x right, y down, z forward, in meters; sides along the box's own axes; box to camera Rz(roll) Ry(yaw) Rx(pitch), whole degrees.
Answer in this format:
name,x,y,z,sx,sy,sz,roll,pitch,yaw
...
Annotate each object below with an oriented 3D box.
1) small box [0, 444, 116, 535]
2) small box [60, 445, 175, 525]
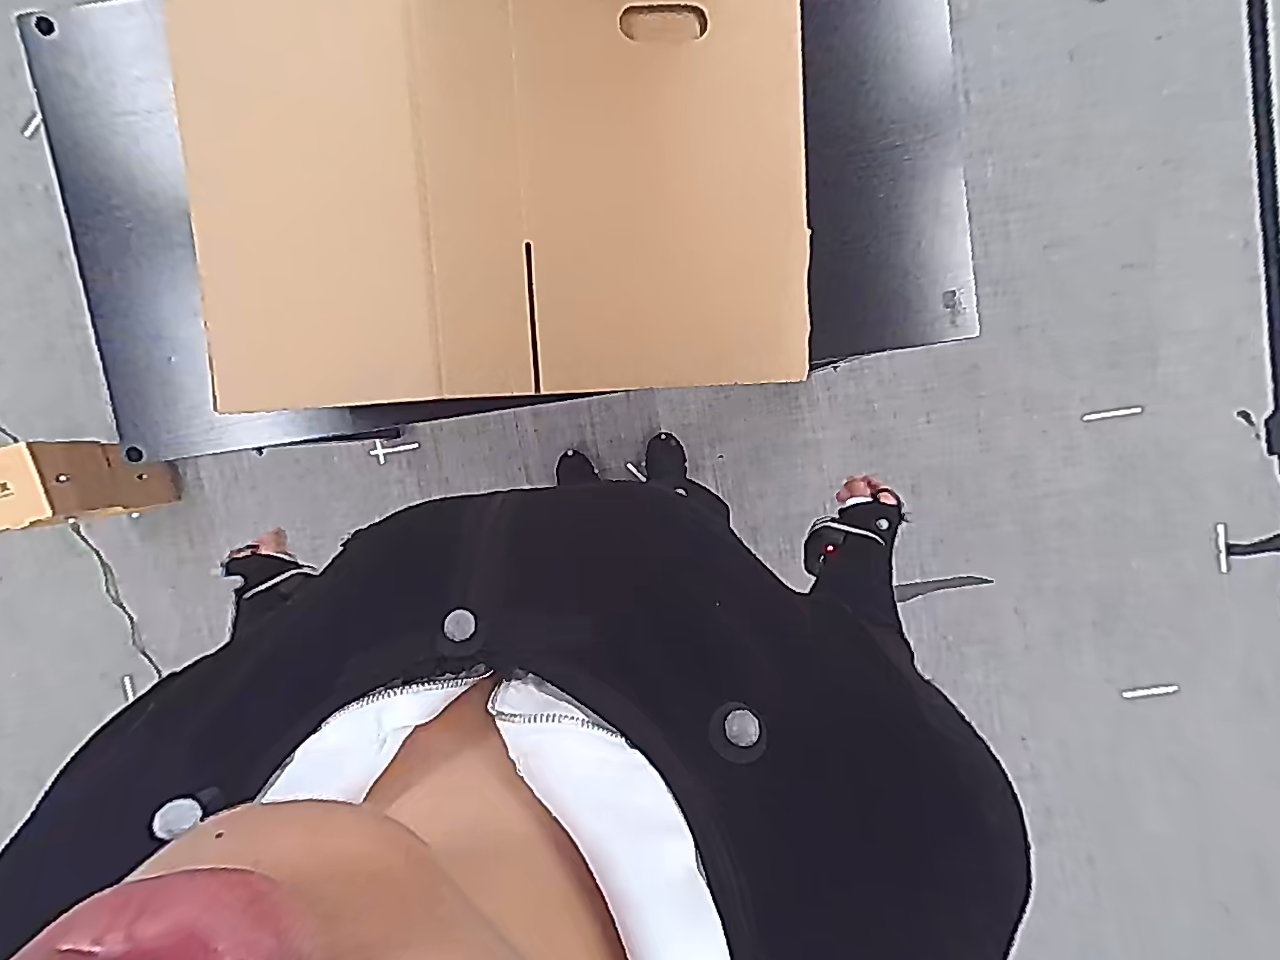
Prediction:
name,x,y,z,sx,sy,sz,roll,pitch,yaw
small box,-1.394,0.017,1.262,0.168,0.176,0.179,-16,94,1
small box,-1.390,0.008,1.424,0.168,0.176,0.179,-12,96,2
